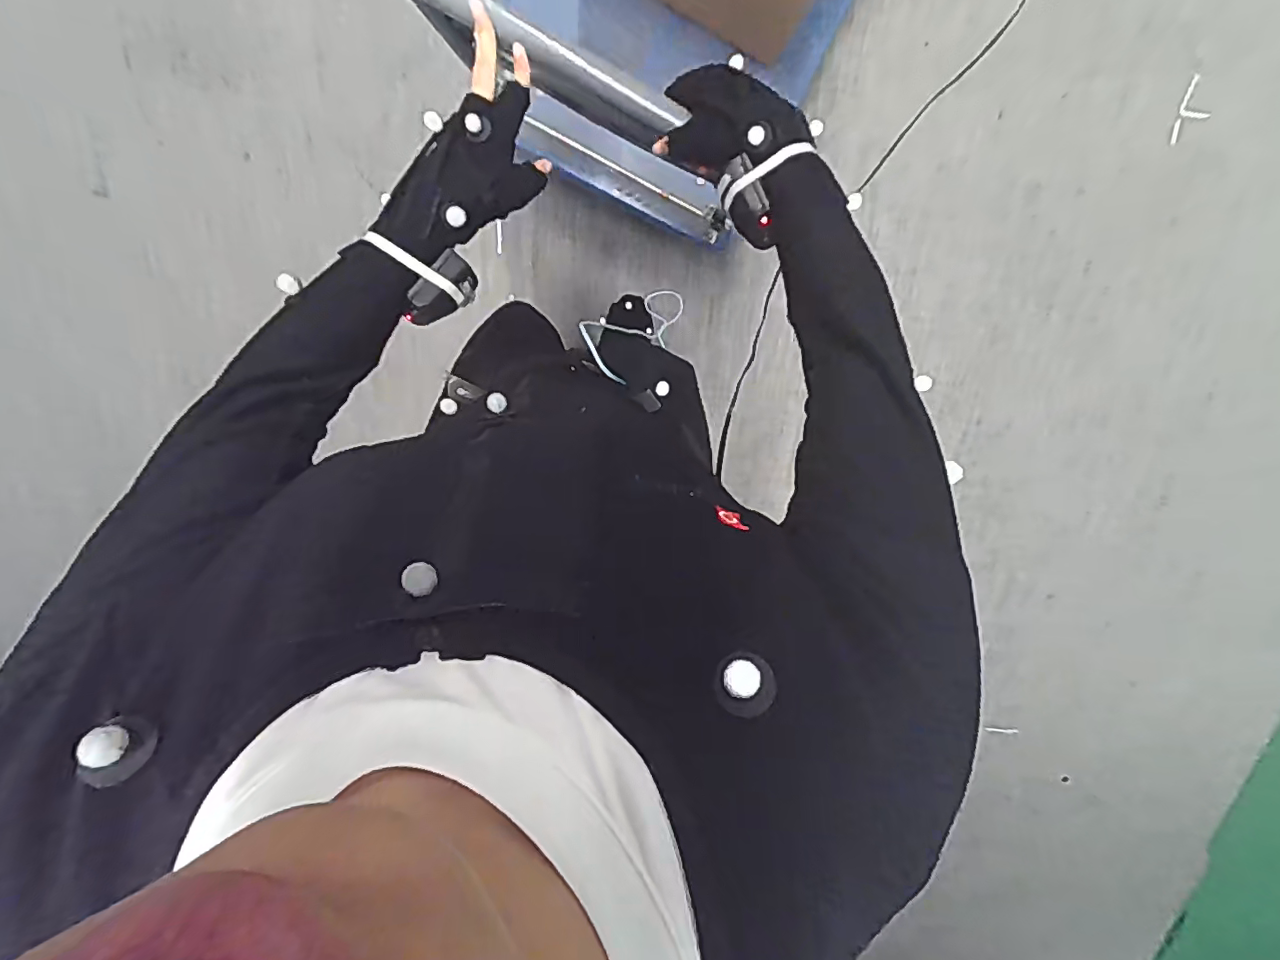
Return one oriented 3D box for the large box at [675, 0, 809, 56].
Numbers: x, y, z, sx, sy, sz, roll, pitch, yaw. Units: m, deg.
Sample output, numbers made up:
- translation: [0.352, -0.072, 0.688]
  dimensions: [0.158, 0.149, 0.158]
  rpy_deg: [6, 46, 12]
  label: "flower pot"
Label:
- translation: [0.140, -0.957, 0.818]
  dimensions: [0.408, 0.320, 0.320]
  rpy_deg: [26, 108, -7]
  label: "large box"
